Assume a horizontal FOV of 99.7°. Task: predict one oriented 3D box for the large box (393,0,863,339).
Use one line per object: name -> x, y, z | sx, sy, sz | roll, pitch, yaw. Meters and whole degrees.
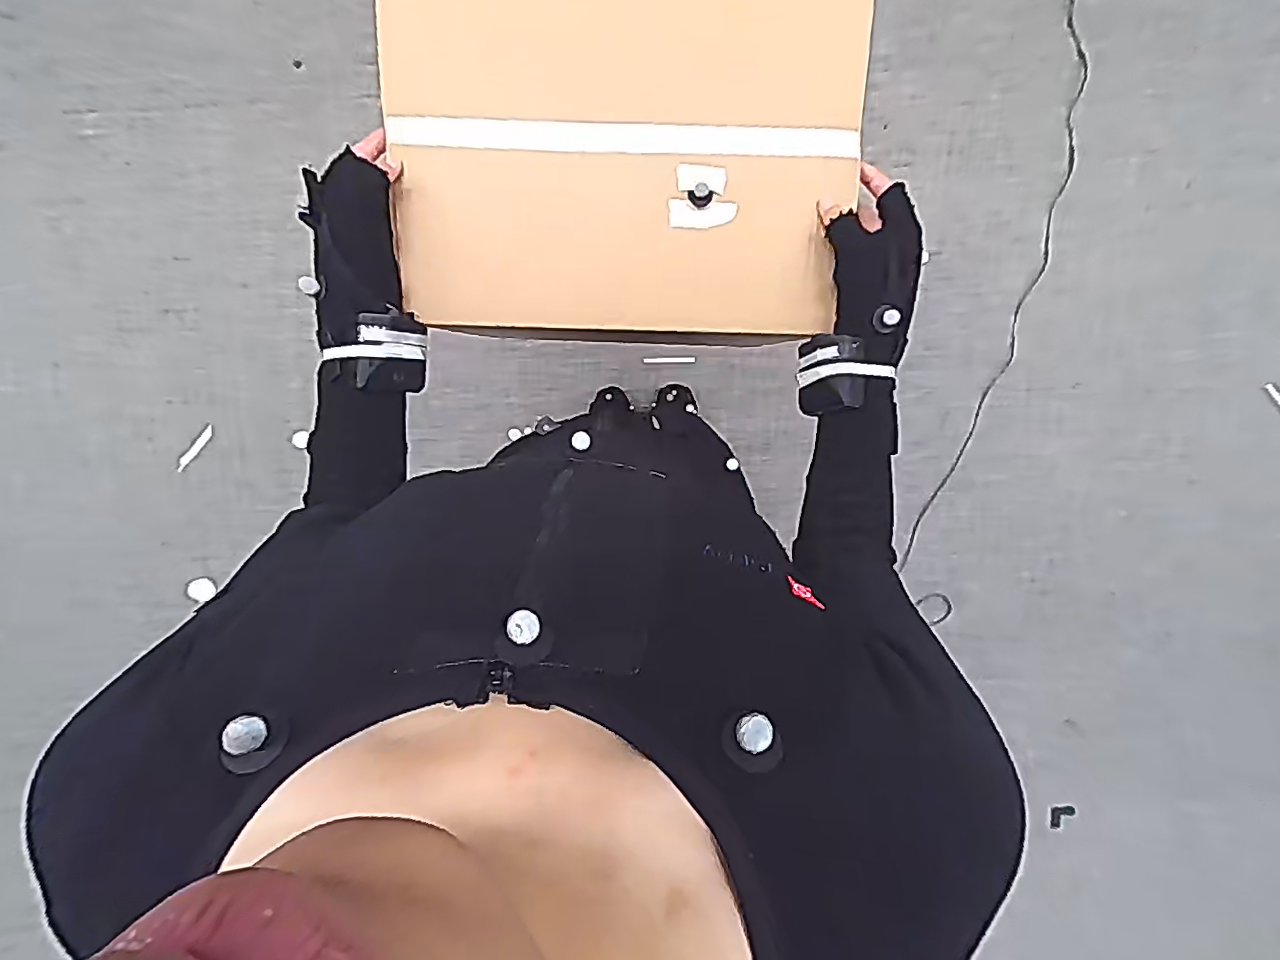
large box -> -0.015, -0.331, 0.620 | 0.408, 0.320, 0.320 | 1, 102, -1
